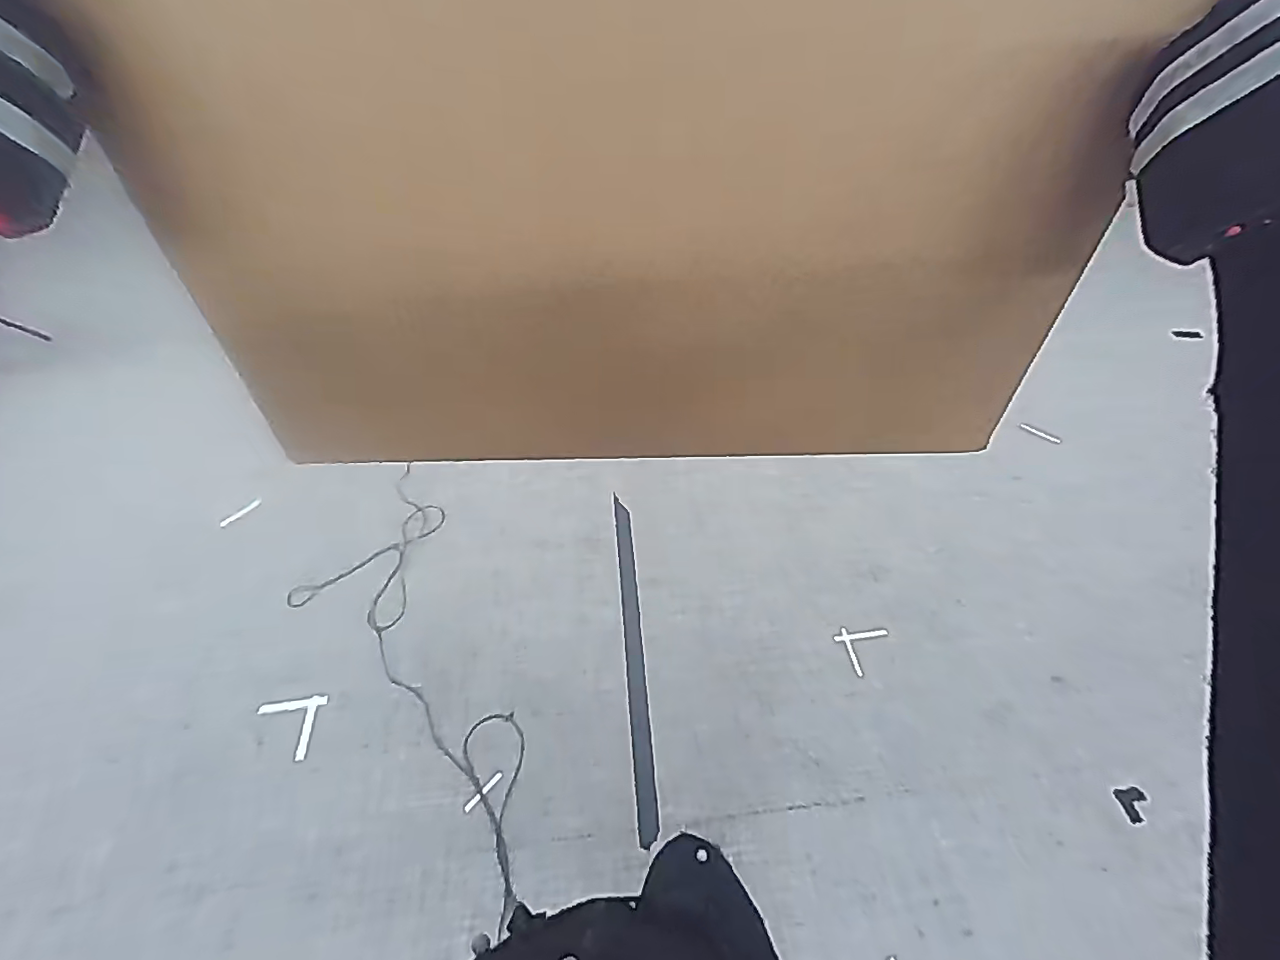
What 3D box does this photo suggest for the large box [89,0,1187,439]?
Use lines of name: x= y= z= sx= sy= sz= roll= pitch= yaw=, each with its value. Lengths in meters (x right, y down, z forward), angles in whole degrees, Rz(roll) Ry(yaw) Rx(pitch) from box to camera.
large box: x=-0.002 y=-0.237 z=0.330 sx=0.408 sy=0.320 sz=0.320 roll=0 pitch=43 yaw=-1
